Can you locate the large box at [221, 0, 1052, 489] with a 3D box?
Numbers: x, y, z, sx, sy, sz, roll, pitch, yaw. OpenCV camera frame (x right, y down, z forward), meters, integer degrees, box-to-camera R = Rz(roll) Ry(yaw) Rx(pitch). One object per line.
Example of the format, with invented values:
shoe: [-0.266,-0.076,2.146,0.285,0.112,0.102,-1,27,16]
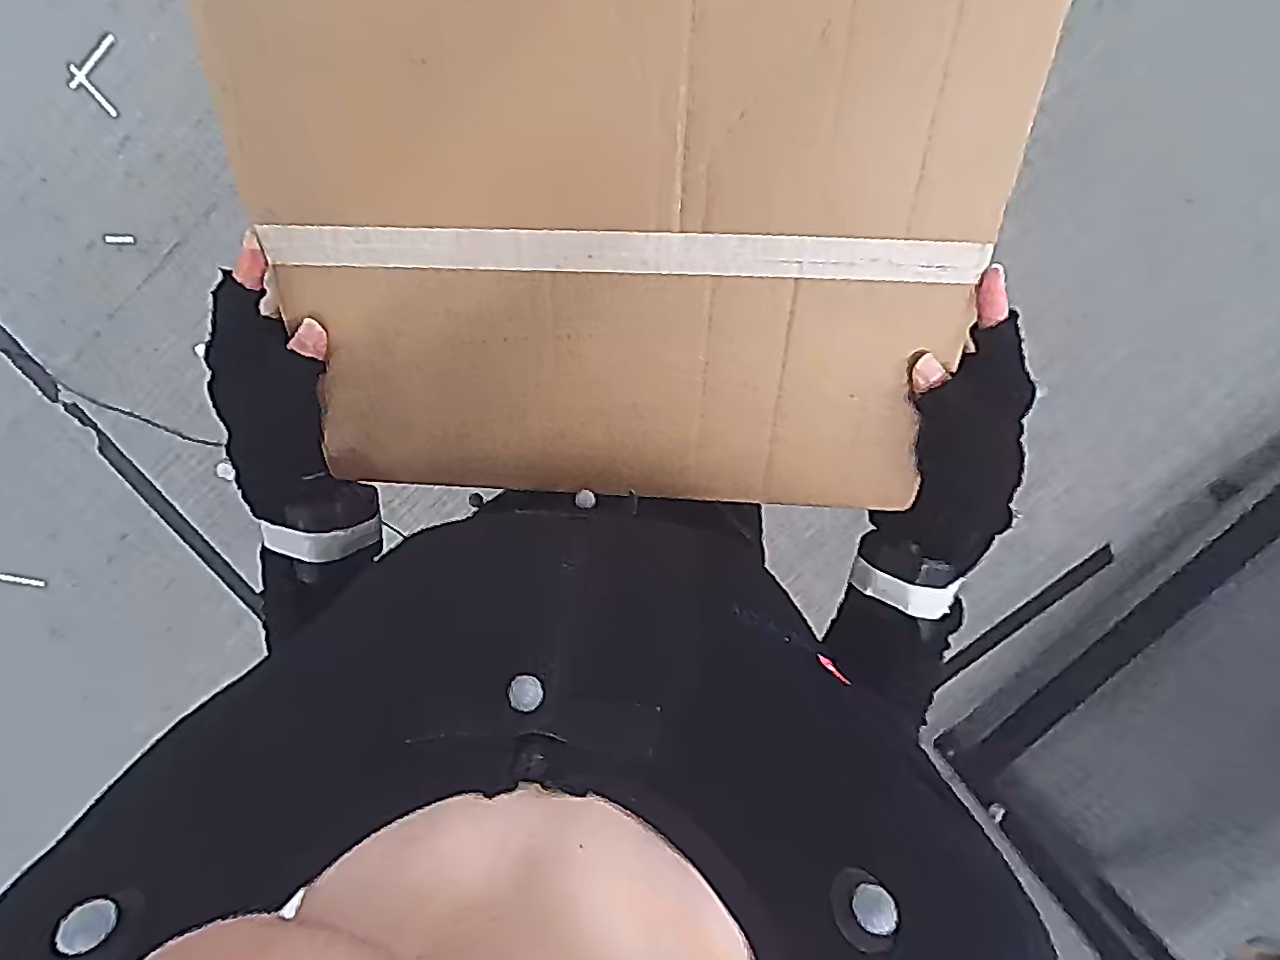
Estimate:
large box: [-0.002,-0.206,0.438,0.408,0.320,0.320,3,121,3]
